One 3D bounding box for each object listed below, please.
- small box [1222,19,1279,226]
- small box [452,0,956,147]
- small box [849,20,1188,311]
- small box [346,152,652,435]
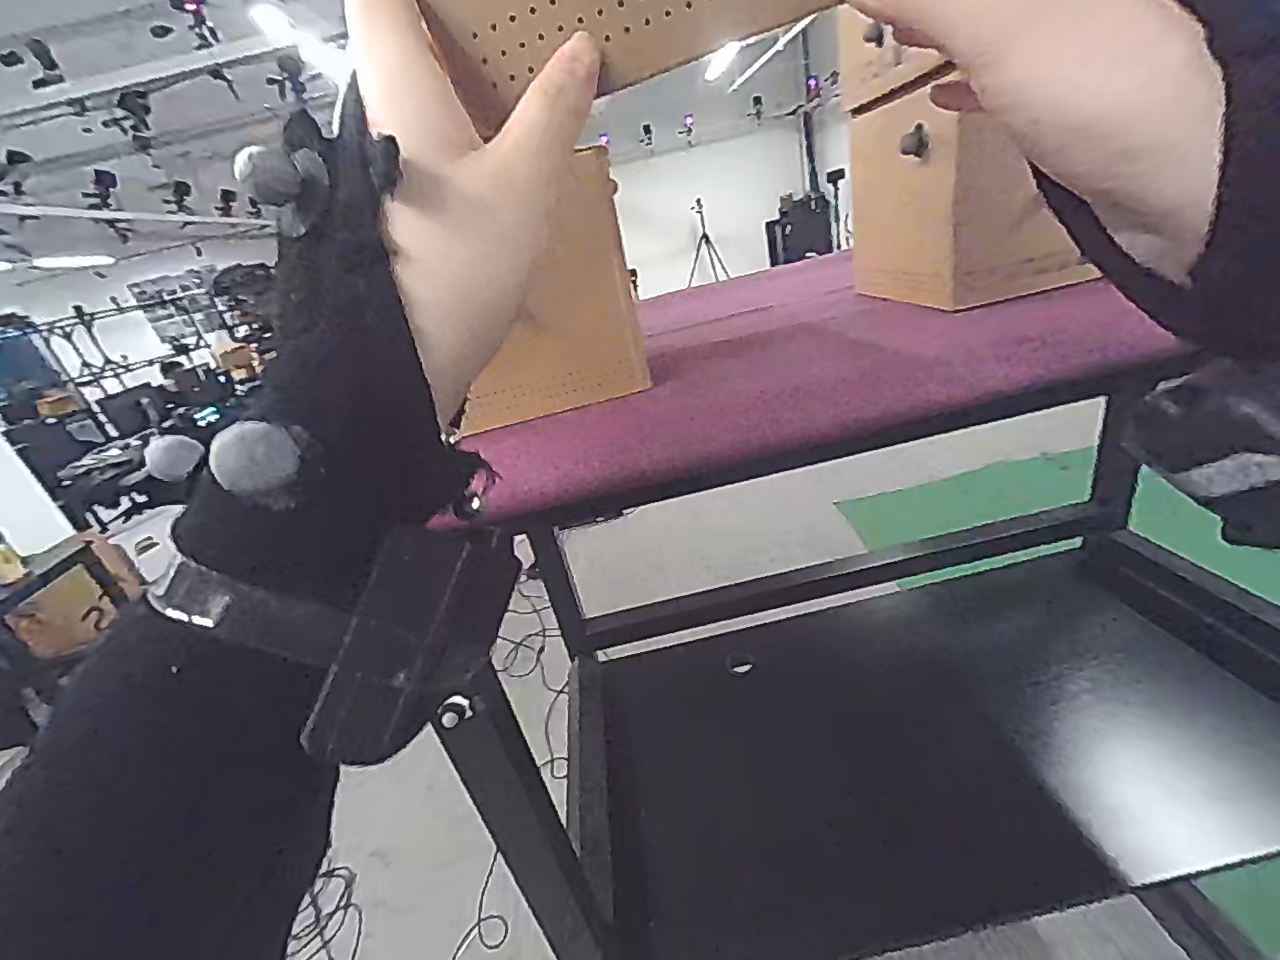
[{"bbox_3d":[0.645,-0.316,0.439,0.179,0.176,0.168,-13,22,5],"label":"small box"},{"bbox_3d":[0.014,-0.238,0.184,0.179,0.176,0.168,-12,39,11],"label":"small box"},{"bbox_3d":[0.302,-0.253,0.475,0.168,0.176,0.179,-12,24,0],"label":"small box"},{"bbox_3d":[-0.101,-0.150,0.451,0.179,0.176,0.168,-14,26,-5],"label":"small box"}]
